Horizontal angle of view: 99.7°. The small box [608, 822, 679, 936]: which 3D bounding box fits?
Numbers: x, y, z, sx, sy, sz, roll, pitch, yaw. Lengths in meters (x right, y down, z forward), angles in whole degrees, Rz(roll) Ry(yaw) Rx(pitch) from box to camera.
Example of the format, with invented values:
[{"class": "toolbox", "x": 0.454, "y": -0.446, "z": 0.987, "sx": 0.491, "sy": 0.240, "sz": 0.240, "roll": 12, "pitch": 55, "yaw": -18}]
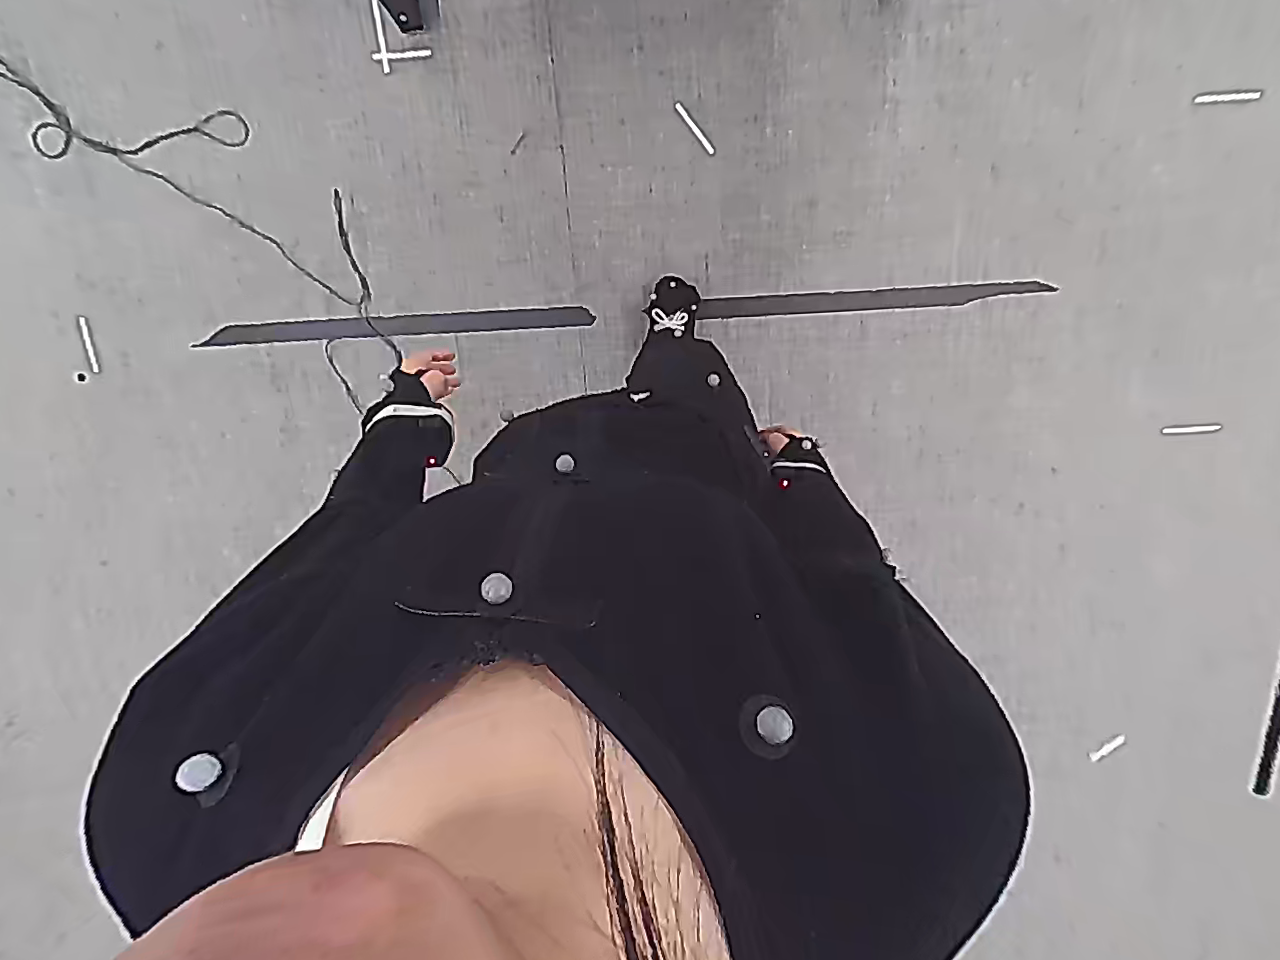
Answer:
[{"class": "small box", "x": 0.011, "y": 1.060, "z": 1.444, "sx": 0.168, "sy": 0.176, "sz": 0.179, "roll": -8, "pitch": 103, "yaw": 0}]
